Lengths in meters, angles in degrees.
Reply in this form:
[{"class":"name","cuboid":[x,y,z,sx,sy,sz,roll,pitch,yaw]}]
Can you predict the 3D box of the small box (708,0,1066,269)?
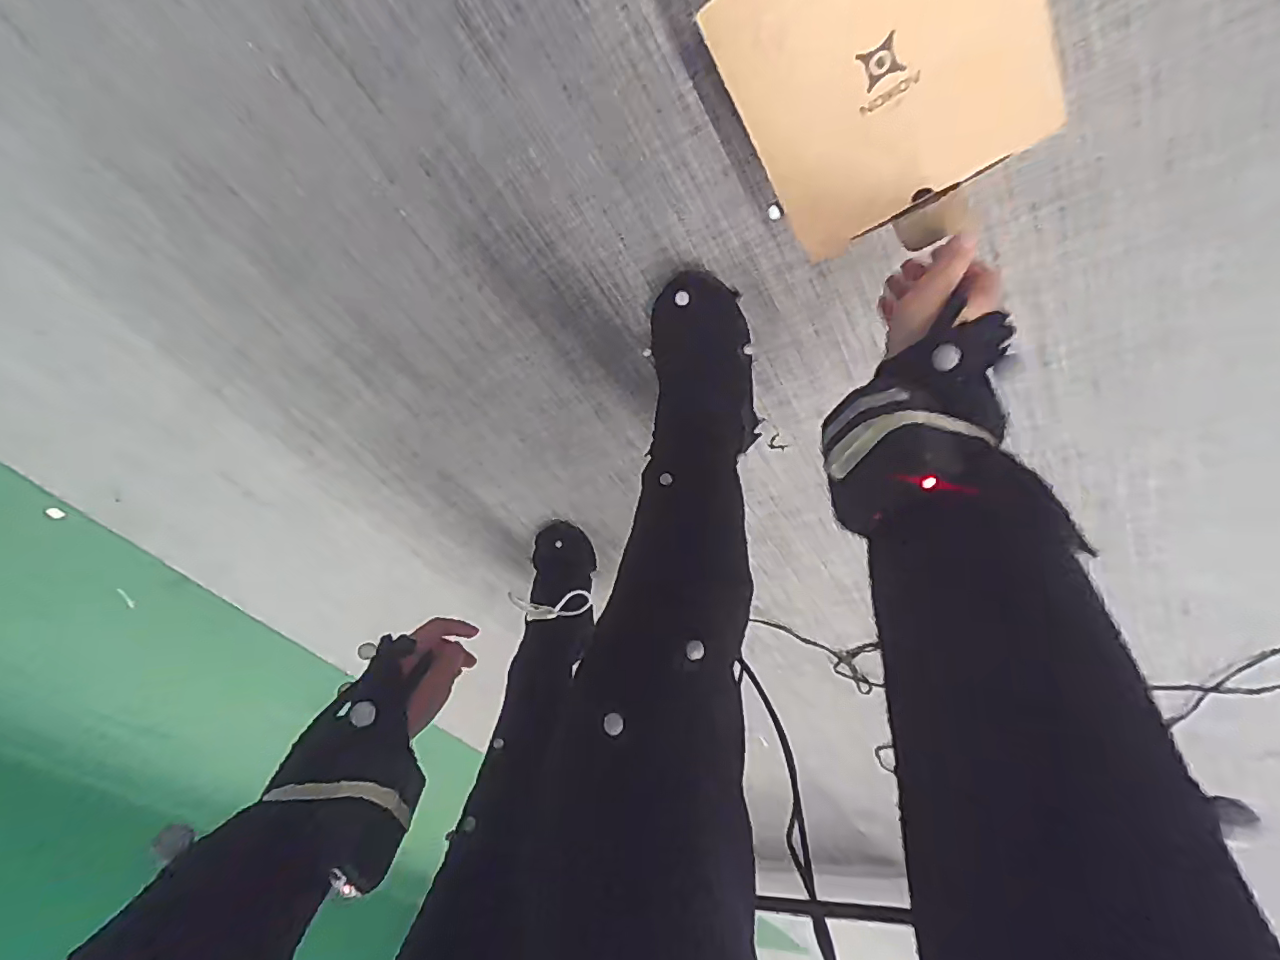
[{"class":"small box","cuboid":[0.163,-0.295,0.389,0.168,0.176,0.179,-22,125,29]}]
